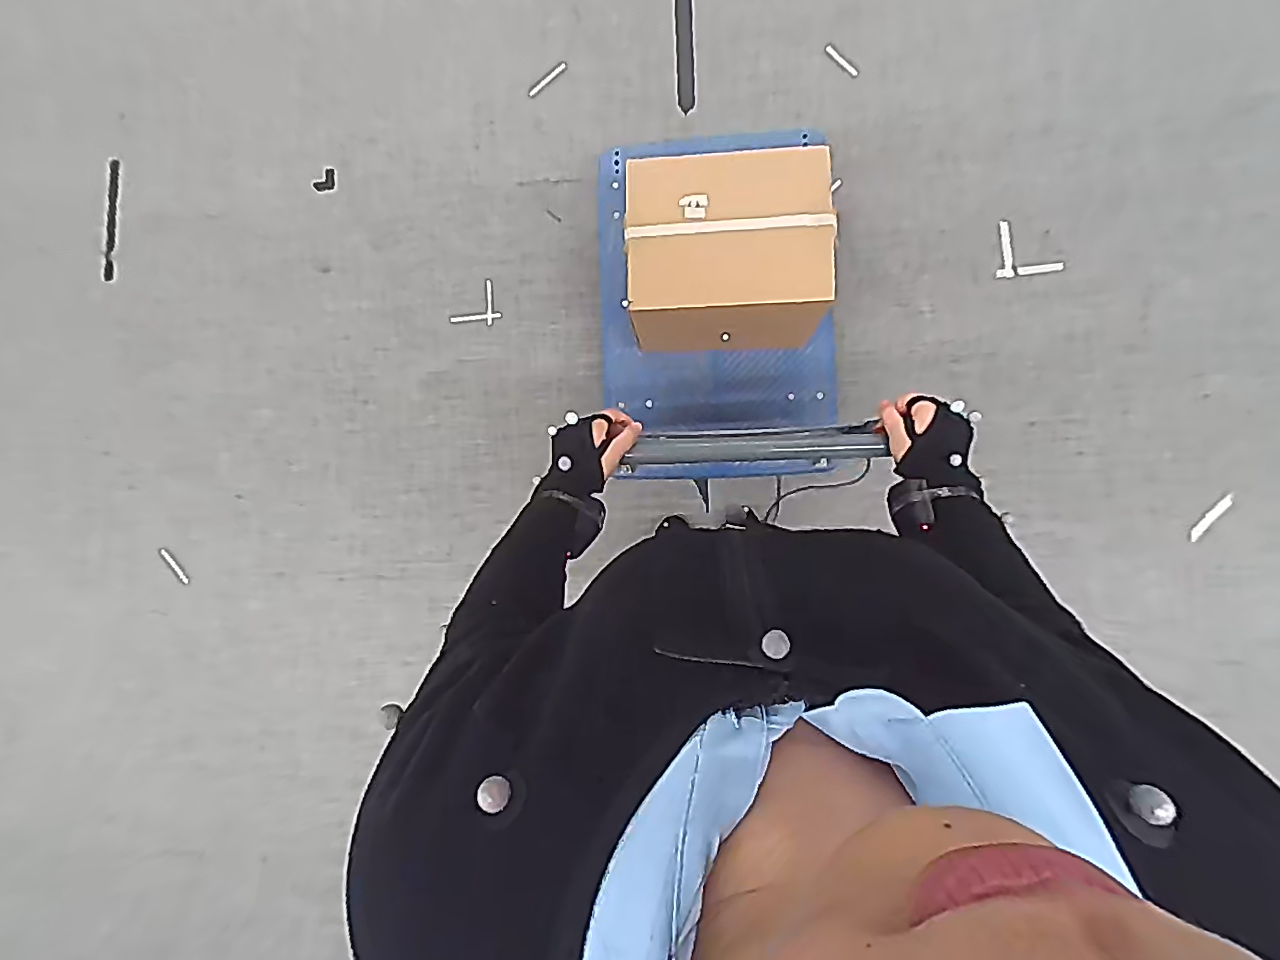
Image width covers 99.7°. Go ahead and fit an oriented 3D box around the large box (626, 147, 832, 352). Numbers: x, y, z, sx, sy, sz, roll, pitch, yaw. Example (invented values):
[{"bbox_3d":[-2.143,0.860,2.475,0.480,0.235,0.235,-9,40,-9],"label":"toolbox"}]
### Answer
[{"bbox_3d":[0.191,-0.492,1.230,0.408,0.320,0.320,-2,86,6],"label":"large box"}]
